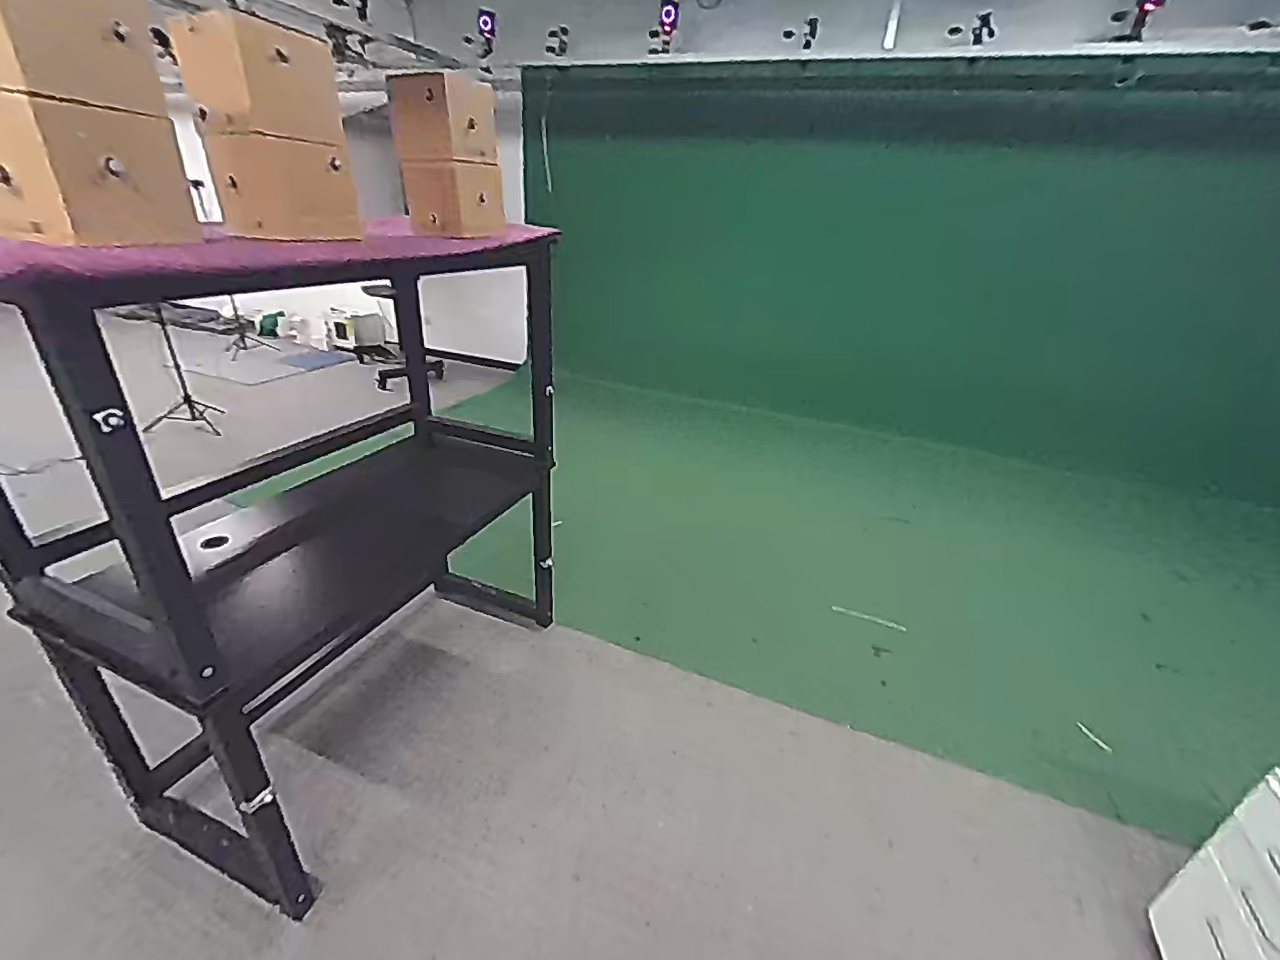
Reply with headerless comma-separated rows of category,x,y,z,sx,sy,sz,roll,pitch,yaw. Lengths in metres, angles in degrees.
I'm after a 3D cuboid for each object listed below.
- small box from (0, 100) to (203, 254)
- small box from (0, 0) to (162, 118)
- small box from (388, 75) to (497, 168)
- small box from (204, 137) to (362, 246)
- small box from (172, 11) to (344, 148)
small box,-0.763,-0.410,0.746,0.168,0.176,0.179,10,27,10
small box,-0.754,-0.557,0.674,0.168,0.176,0.179,7,26,8
small box,-0.463,-0.847,1.294,0.179,0.176,0.168,12,29,21
small box,-0.666,-0.541,1.030,0.168,0.176,0.179,13,27,20
small box,-0.664,-0.690,0.961,0.168,0.176,0.179,13,26,21
